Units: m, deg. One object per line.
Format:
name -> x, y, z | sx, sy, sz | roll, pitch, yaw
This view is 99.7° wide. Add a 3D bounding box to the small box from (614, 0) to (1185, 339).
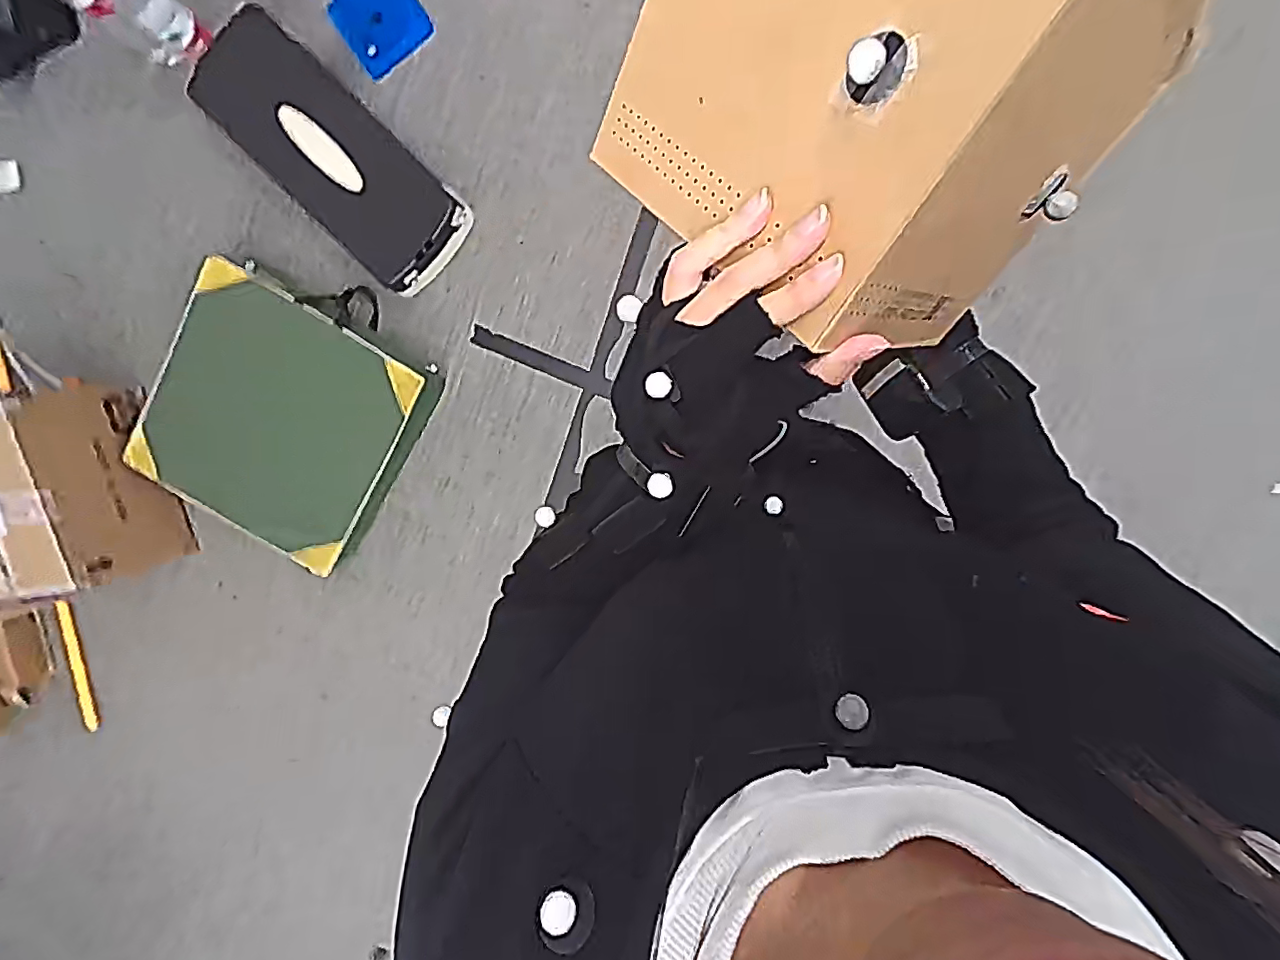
small box -> 0.117, -0.191, 0.285 | 0.179, 0.168, 0.176 | 52, 131, 24
